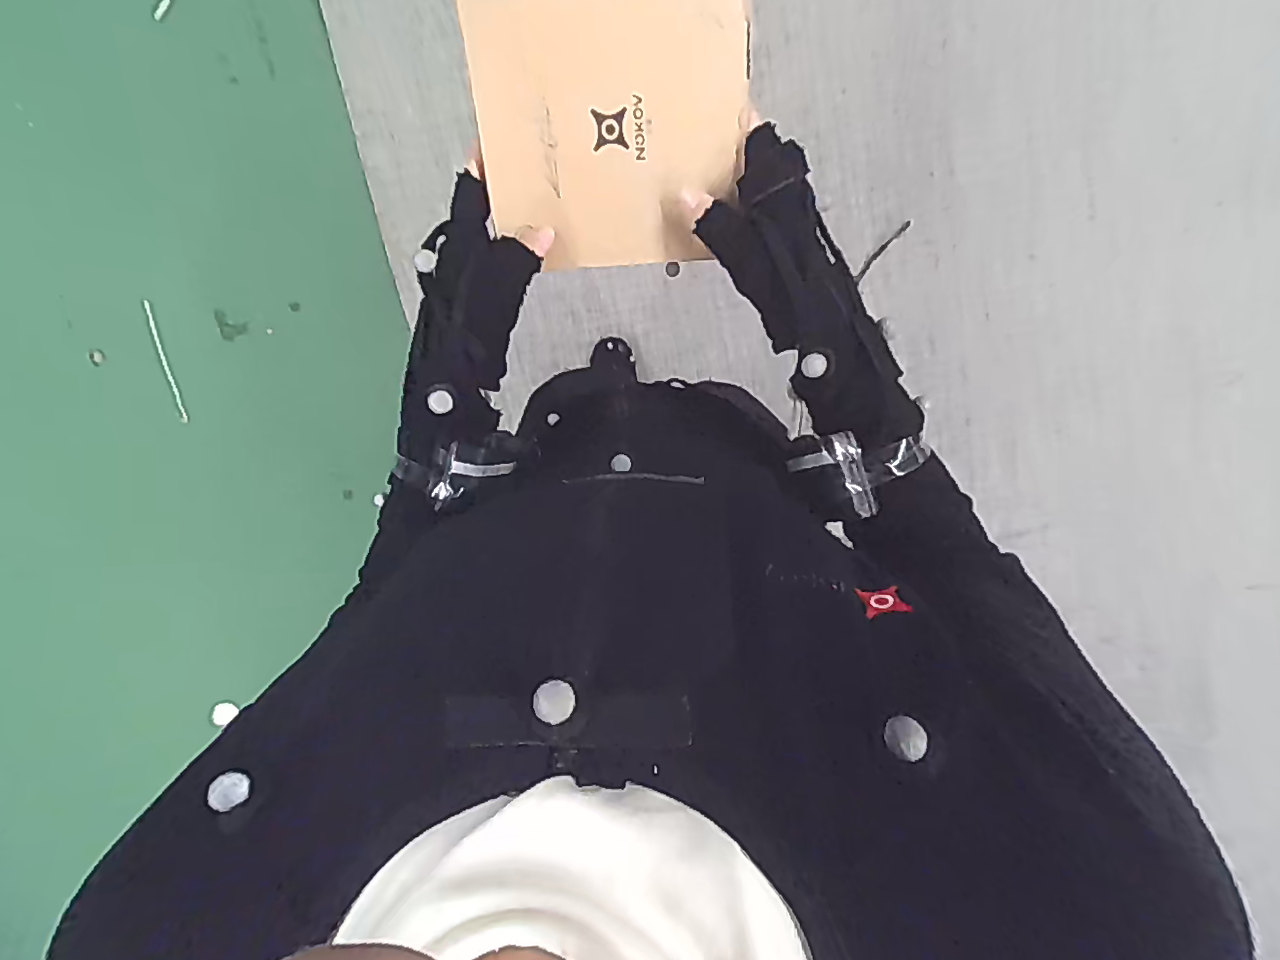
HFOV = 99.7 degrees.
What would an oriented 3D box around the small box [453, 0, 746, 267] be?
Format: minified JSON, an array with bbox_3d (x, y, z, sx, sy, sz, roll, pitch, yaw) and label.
[{"bbox_3d":[-0.024,-0.264,0.417,0.179,0.176,0.168,-6,114,-1],"label":"small box"}]
